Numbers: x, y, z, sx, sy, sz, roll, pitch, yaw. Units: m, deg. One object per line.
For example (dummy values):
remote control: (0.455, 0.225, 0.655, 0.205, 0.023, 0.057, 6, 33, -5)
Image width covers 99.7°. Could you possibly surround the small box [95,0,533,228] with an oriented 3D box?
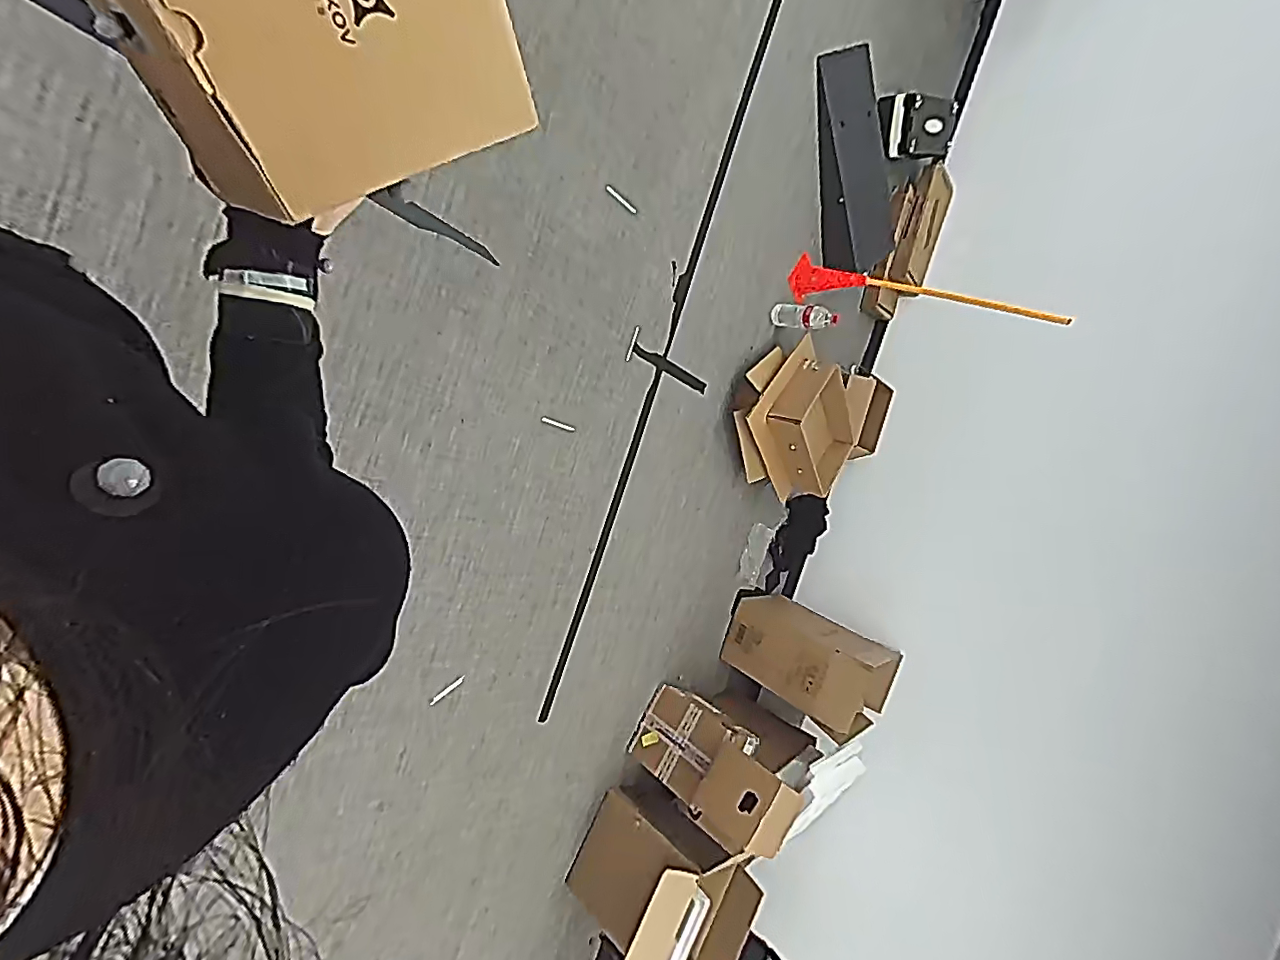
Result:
small box: (-0.203, -0.280, 0.334, 0.179, 0.176, 0.168, -39, 138, -24)
